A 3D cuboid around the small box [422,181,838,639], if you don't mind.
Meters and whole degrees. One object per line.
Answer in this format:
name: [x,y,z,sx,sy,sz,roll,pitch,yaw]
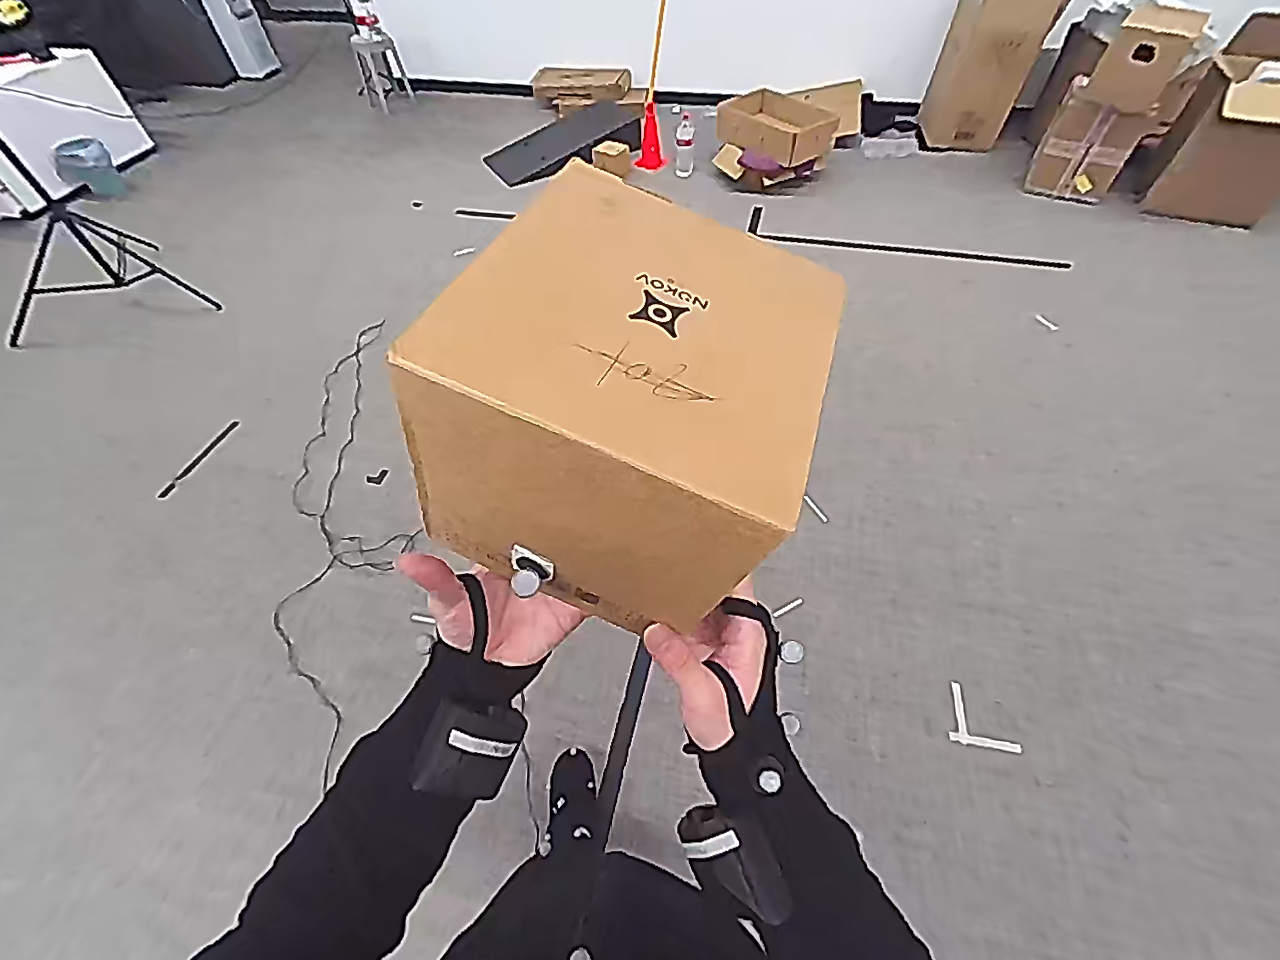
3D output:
small box: [-0.006,-0.032,0.326,0.168,0.176,0.179,22,56,0]
